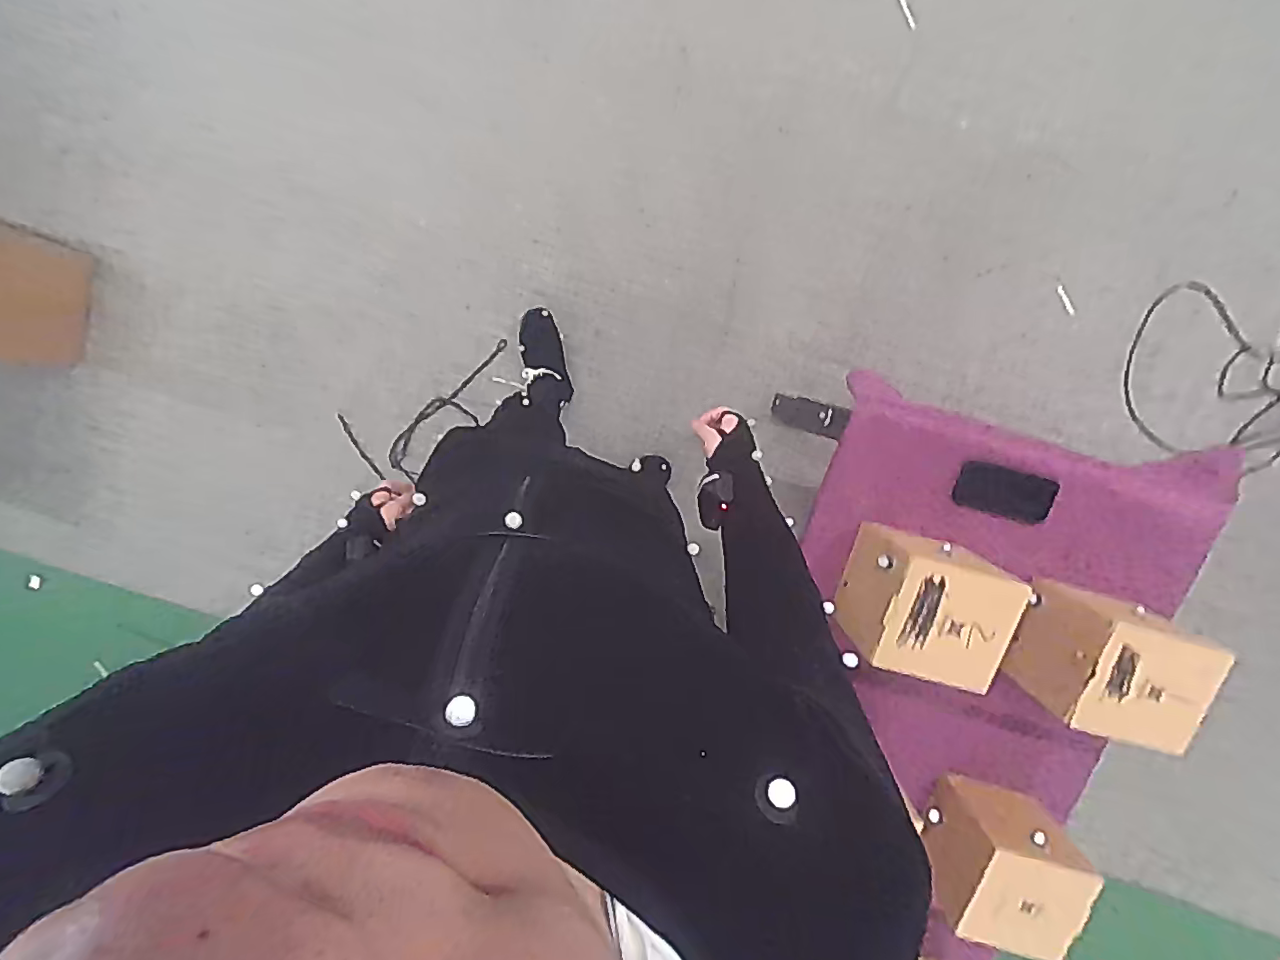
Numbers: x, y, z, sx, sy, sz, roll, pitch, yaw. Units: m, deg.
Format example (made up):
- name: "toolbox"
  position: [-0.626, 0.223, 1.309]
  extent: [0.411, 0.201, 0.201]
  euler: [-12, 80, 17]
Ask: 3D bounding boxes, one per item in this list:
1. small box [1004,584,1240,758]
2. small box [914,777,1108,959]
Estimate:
- name: "small box"
  position: [0.703, 0.273, 0.816]
  extent: [0.179, 0.176, 0.168]
  euler: [16, 102, -1]
- name: "small box"
  position: [0.596, 0.633, 0.896]
  extent: [0.179, 0.176, 0.168]
  euler: [17, 101, 0]
